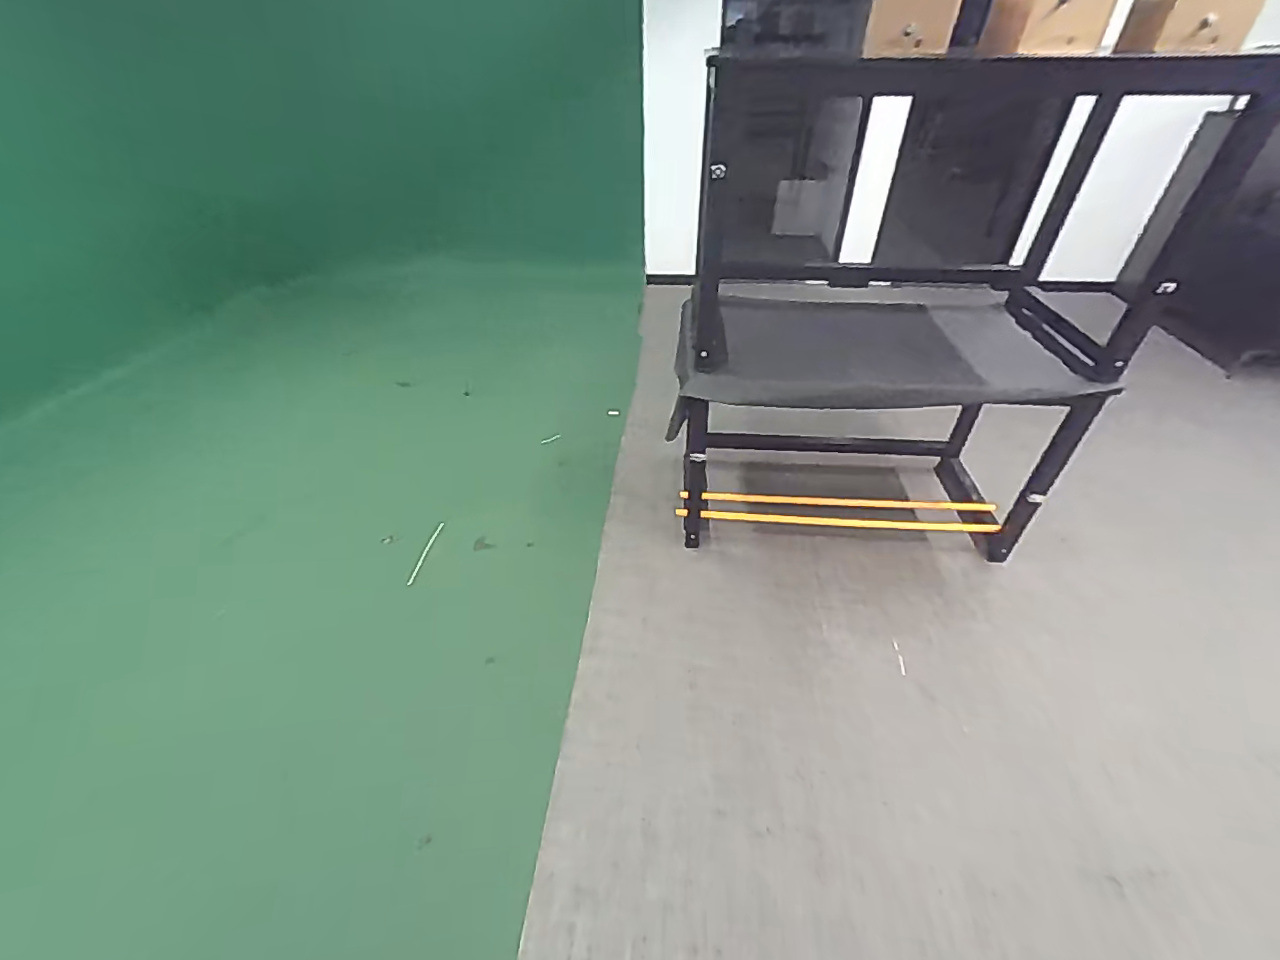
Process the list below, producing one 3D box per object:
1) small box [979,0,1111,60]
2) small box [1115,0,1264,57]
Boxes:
[{"bbox_3d":[0.868,-1.006,1.150,0.168,0.176,0.179,-1,39,0],"label":"small box"},{"bbox_3d":[1.161,-1.001,1.135,0.168,0.176,0.179,5,40,8],"label":"small box"}]
